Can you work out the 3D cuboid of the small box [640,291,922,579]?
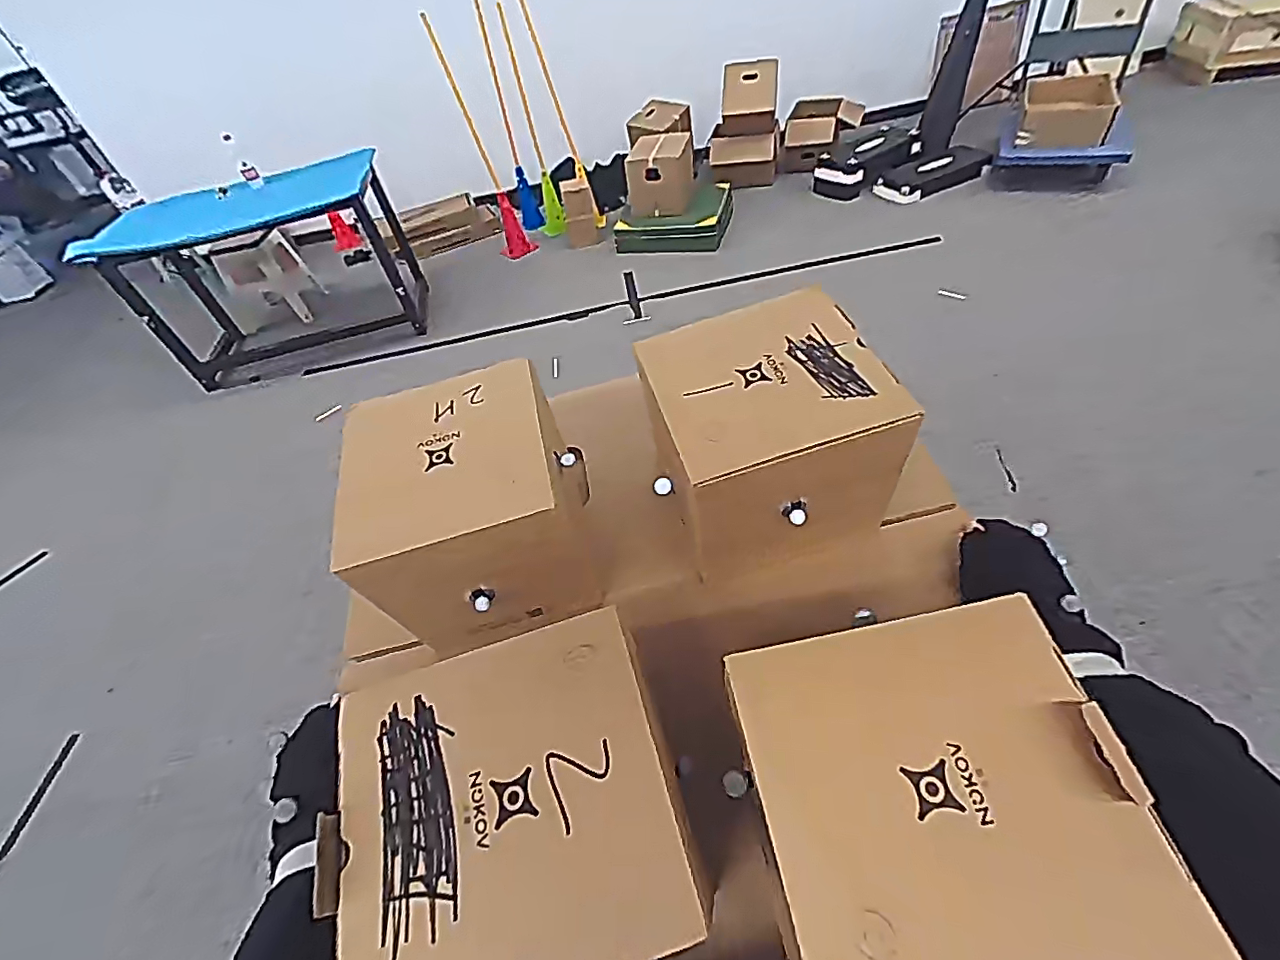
[{"bbox_3d":[0.112,-0.034,0.490,0.179,0.176,0.168,-17,54,0],"label":"small box"}]

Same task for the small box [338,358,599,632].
[{"bbox_3d":[-0.142,0.024,0.498,0.168,0.176,0.179,-15,53,-1],"label":"small box"}]
